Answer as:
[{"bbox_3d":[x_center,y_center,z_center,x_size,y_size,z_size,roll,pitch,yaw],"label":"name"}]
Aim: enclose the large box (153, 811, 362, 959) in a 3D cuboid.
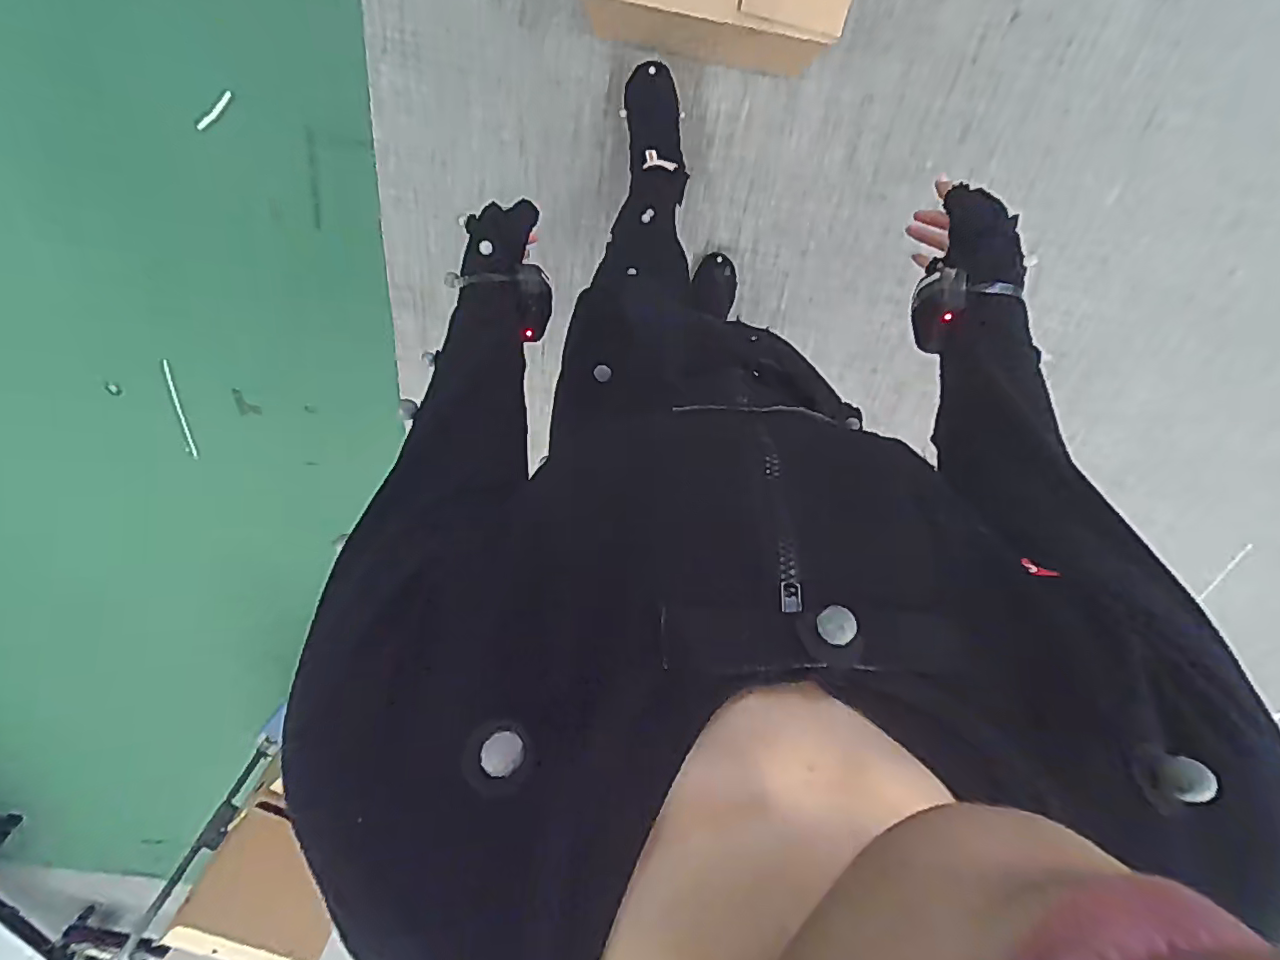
[{"bbox_3d":[-1.177,1.315,1.695,0.408,0.320,0.320,37,121,-16],"label":"large box"}]
